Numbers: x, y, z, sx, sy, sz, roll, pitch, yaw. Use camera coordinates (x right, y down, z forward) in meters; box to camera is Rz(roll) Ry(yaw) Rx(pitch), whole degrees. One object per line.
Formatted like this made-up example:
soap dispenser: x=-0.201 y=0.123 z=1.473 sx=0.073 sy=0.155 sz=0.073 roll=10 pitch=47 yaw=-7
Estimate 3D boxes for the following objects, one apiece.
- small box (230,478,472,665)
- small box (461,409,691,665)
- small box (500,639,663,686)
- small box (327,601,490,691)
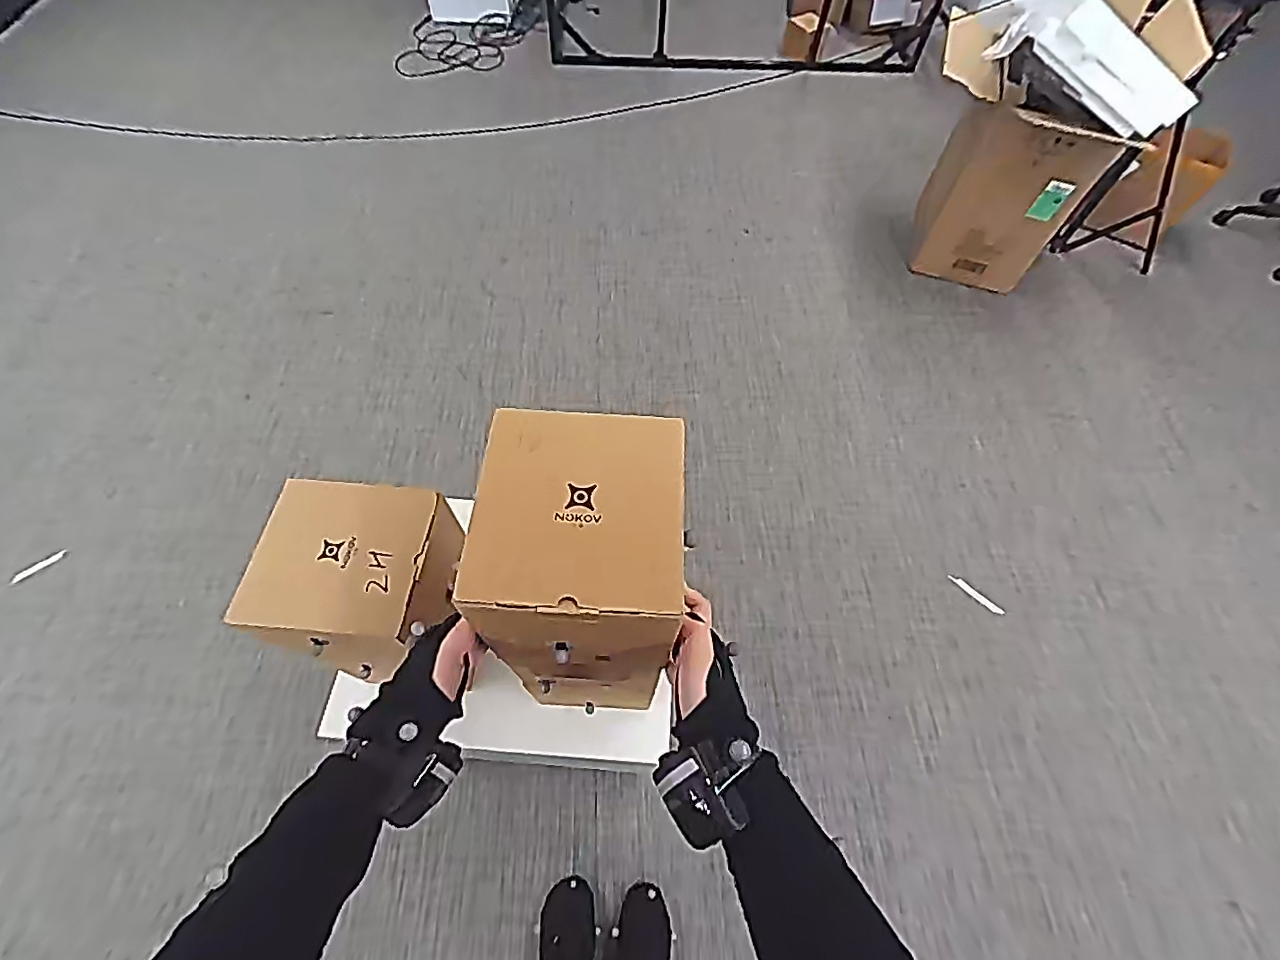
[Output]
small box: x=-0.314 y=0.114 z=0.637 sx=0.179 sy=0.176 sz=0.168 roll=5 pitch=61 yaw=0
small box: x=-0.046 y=0.059 z=0.494 sx=0.168 sy=0.176 sz=0.179 roll=4 pitch=61 yaw=-1
small box: x=-0.053 y=0.138 z=0.636 sx=0.168 sy=0.176 sz=0.179 roll=4 pitch=60 yaw=0
small box: x=-0.319 y=0.192 z=0.782 sx=0.168 sy=0.176 sz=0.179 roll=6 pitch=59 yaw=1
